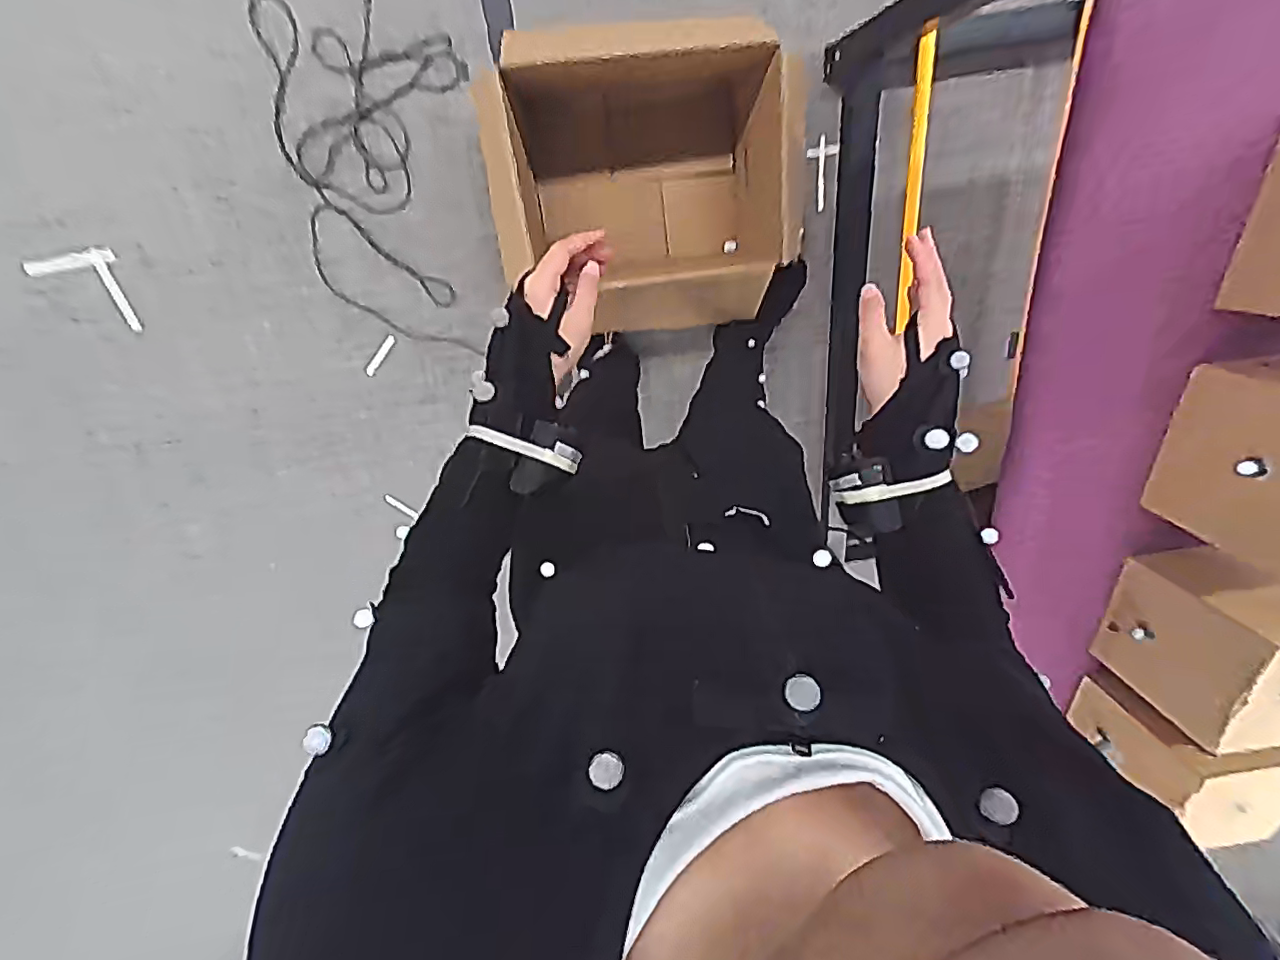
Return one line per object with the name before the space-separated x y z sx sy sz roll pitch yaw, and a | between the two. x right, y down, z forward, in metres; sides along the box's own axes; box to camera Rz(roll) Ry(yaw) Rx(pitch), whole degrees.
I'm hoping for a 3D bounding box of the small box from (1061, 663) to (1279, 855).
small box | 0.751 0.376 0.751 0.179 0.176 0.168 -6 117 -4
